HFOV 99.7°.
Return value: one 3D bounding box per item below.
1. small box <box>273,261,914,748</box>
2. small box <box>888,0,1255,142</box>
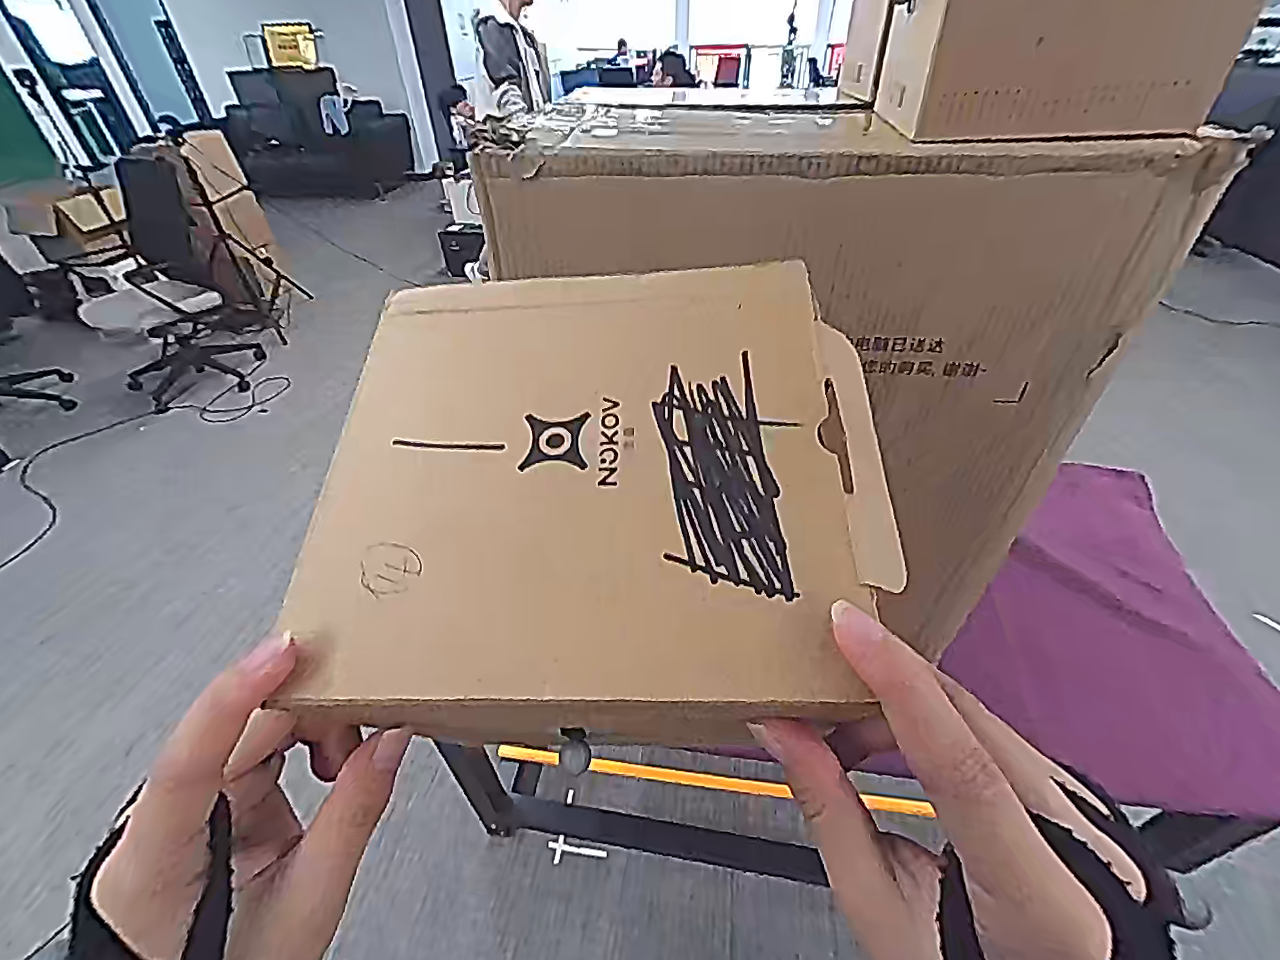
[{"bbox_3d":[-0.008,0.026,0.251,0.179,0.176,0.168,-2,60,5],"label":"small box"},{"bbox_3d":[0.285,-0.341,0.370,0.179,0.176,0.168,4,41,8],"label":"small box"}]
